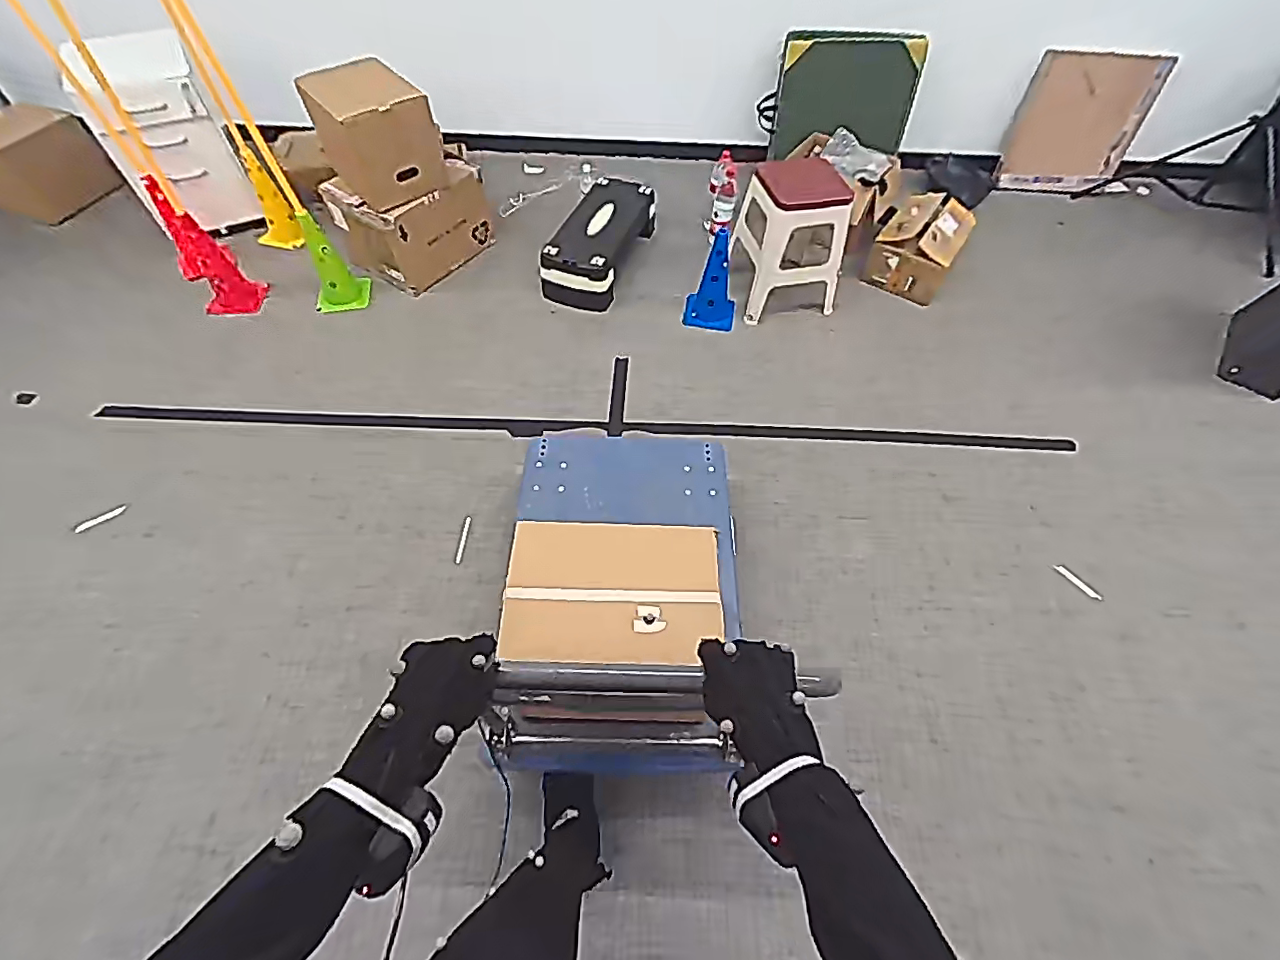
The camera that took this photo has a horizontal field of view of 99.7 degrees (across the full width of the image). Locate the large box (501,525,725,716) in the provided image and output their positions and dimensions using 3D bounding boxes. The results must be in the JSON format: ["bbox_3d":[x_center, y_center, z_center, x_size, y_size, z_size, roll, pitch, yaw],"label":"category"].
[{"bbox_3d":[-0.056,0.309,1.154,0.408,0.320,0.320,3,55,-2],"label":"large box"}]
